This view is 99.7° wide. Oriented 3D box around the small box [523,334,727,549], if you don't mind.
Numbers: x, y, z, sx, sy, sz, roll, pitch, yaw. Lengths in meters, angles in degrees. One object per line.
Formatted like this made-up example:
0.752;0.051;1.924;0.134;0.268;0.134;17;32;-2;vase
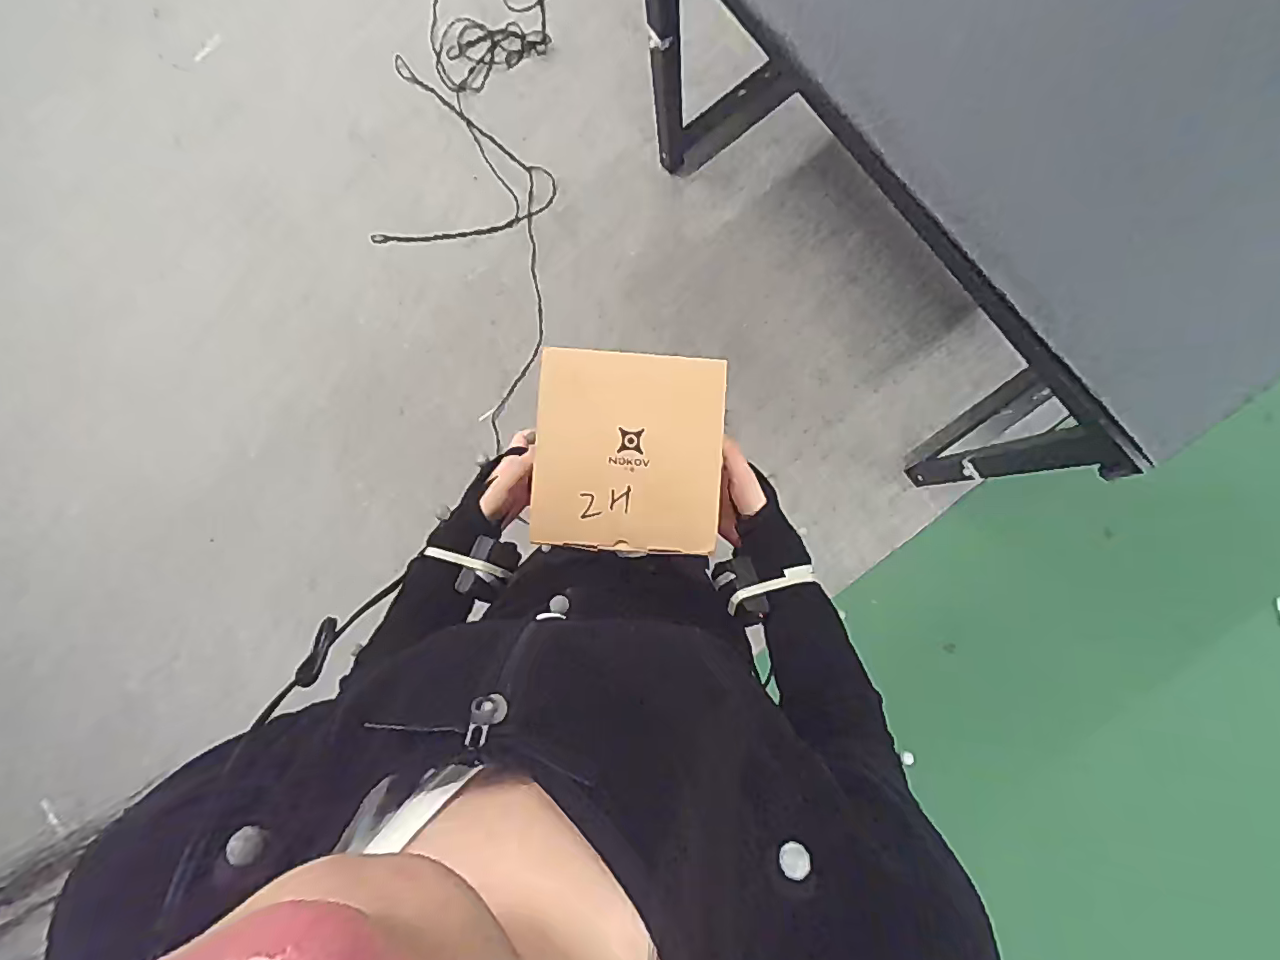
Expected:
-0.014;-0.029;0.545;0.168;0.176;0.179;4;87;-1;small box
